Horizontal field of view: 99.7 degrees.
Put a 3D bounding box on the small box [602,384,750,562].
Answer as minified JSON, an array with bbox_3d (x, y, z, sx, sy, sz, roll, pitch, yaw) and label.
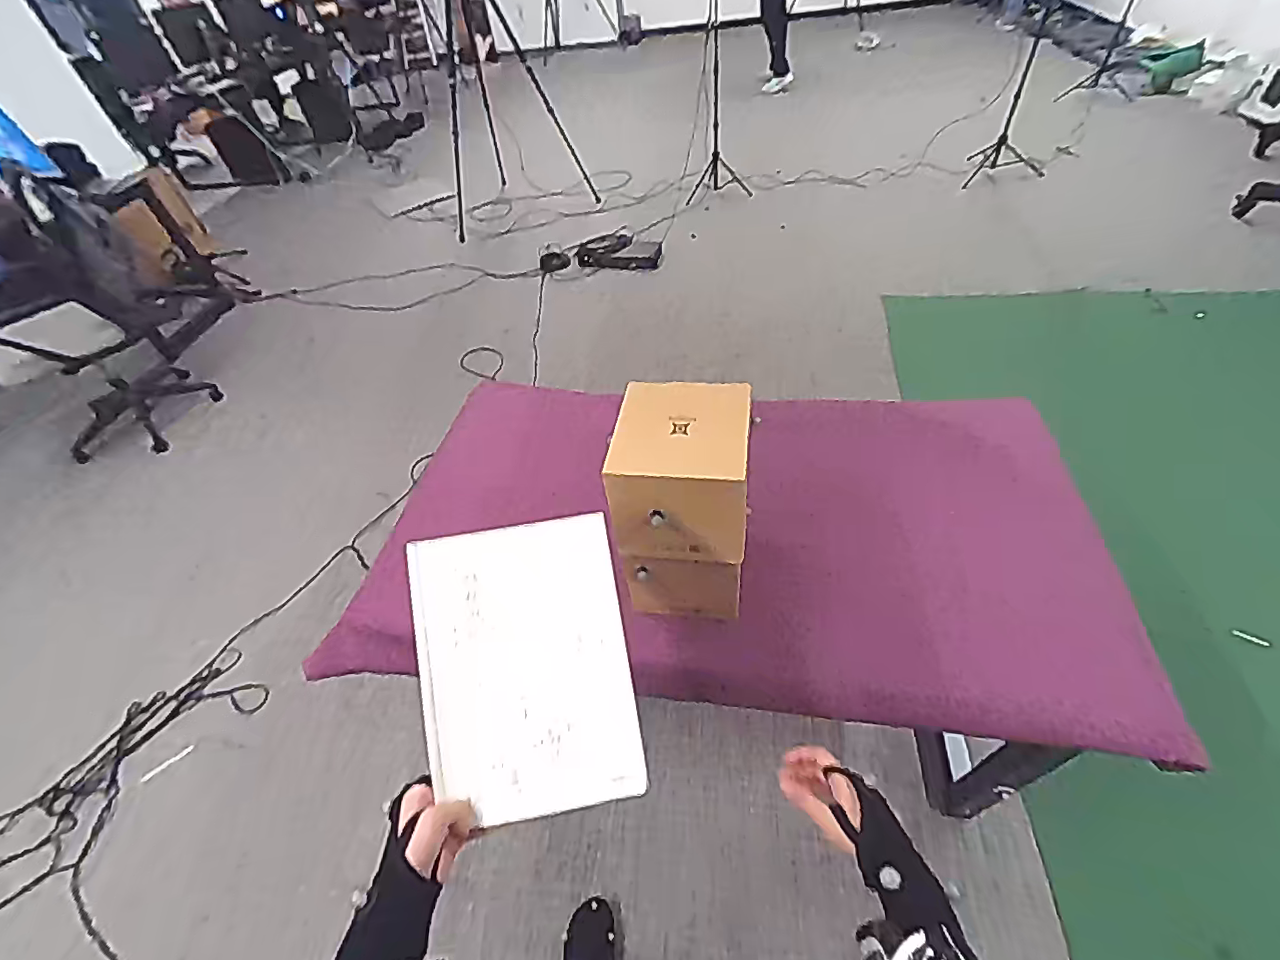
[{"bbox_3d":[0.058,-0.009,0.723,0.168,0.176,0.179,3,47,11],"label":"small box"}]
